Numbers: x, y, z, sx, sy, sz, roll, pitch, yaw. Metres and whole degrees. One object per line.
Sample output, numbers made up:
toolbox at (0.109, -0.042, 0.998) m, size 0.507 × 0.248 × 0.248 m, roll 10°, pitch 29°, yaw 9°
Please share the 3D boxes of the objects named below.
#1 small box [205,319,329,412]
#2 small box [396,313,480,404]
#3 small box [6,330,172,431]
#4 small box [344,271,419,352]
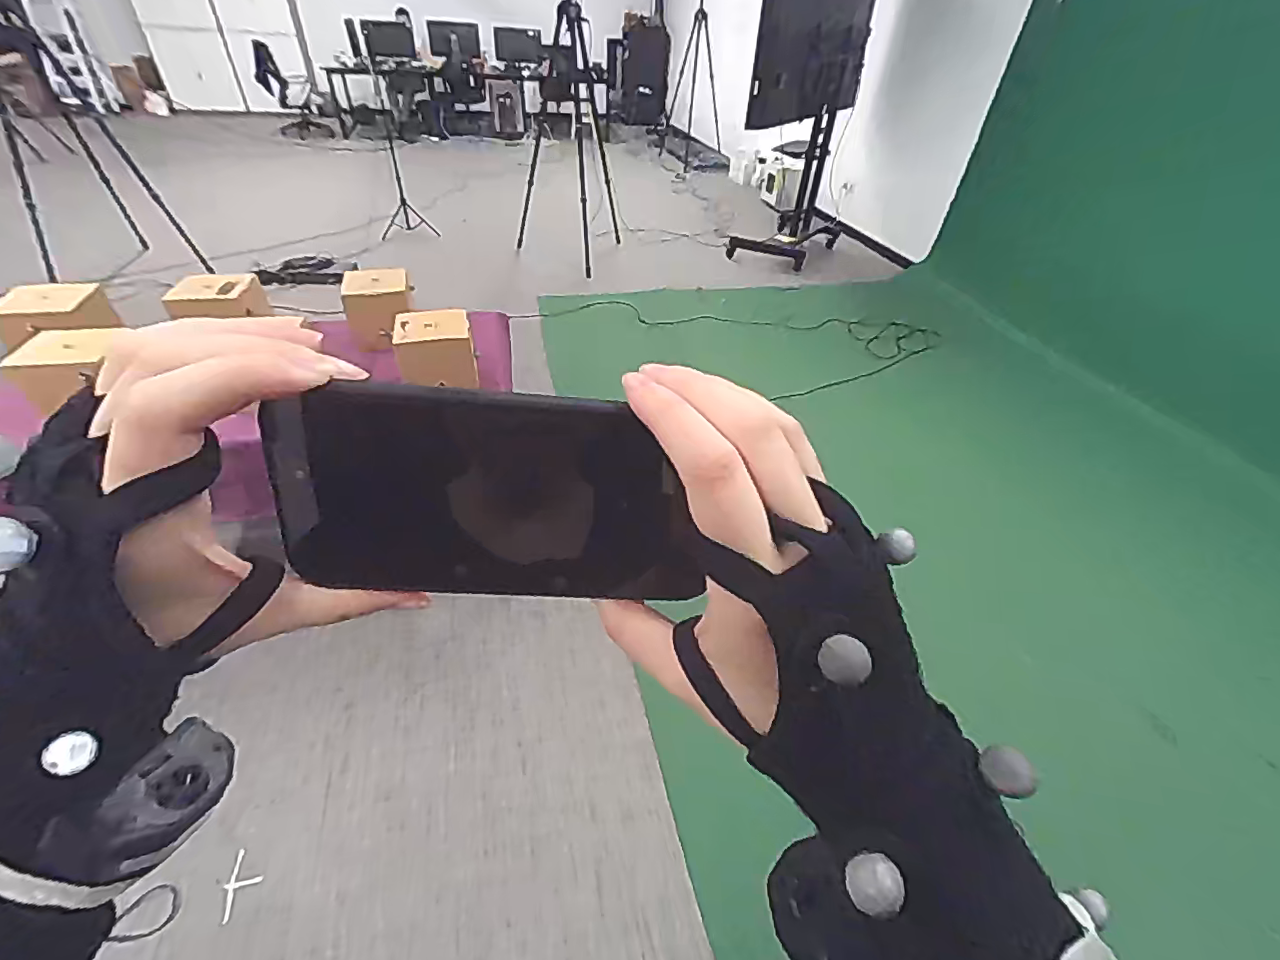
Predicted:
small box at (-0.891, -0.276, 1.312) m, size 0.179 × 0.176 × 0.168 m, roll -4°, pitch 42°, yaw -11°
small box at (-0.508, -0.310, 1.381) m, size 0.179 × 0.176 × 0.168 m, roll -8°, pitch 42°, yaw -13°
small box at (-1.229, -0.224, 1.225) m, size 0.179 × 0.176 × 0.168 m, roll -5°, pitch 42°, yaw -12°
small box at (-0.738, -0.489, 1.567) m, size 0.168 × 0.176 × 0.179 m, roll -9°, pitch 43°, yaw -14°
